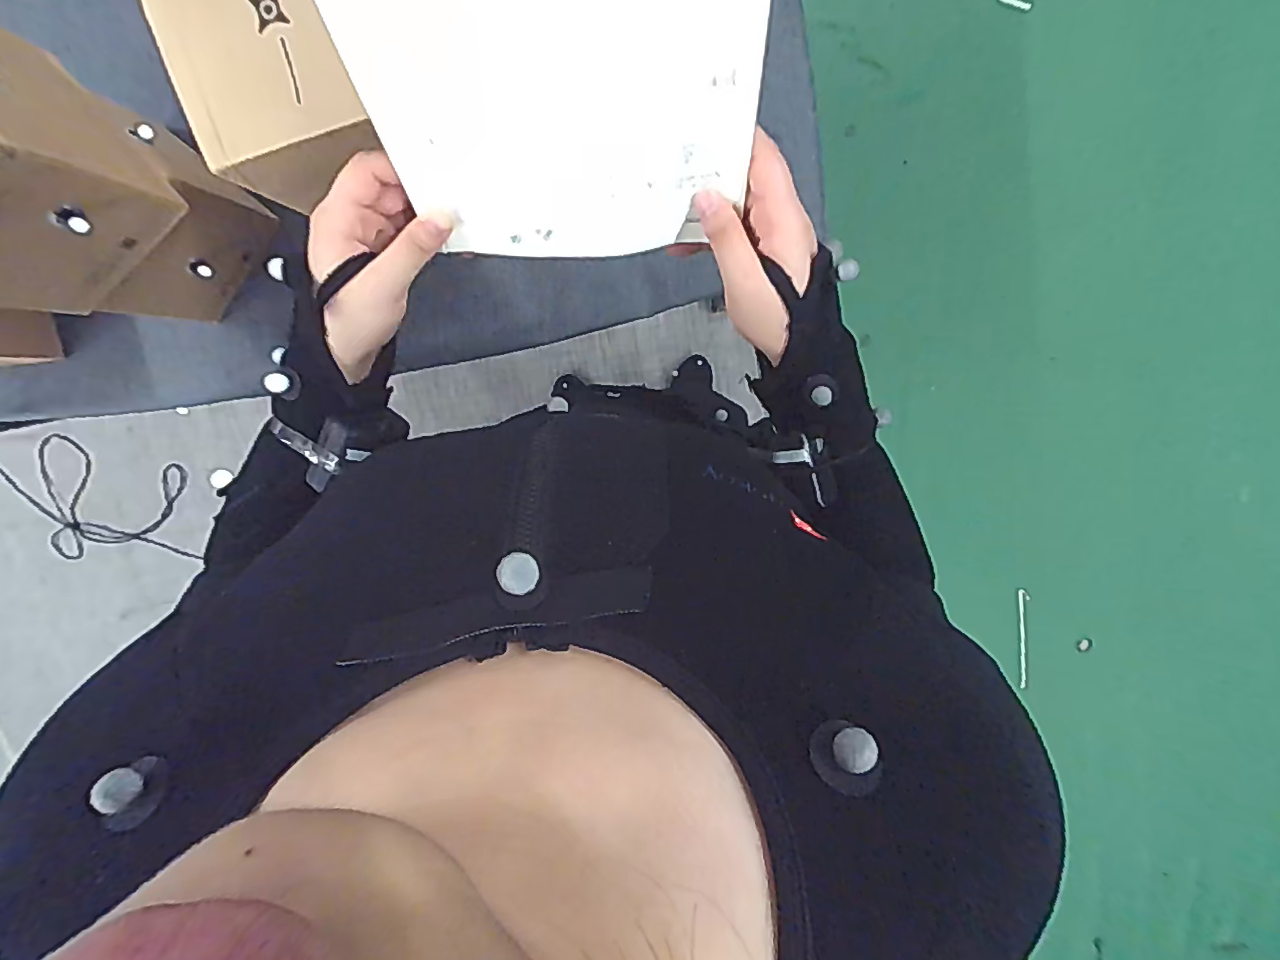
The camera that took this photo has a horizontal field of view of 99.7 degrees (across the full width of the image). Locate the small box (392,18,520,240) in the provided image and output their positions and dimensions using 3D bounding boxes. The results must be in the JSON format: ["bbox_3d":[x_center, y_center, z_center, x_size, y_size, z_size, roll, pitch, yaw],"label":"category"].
[{"bbox_3d":[-0.246,-0.378,0.586,0.179,0.176,0.168,19,102,-2],"label":"small box"}]

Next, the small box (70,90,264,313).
[{"bbox_3d":[-0.581,-0.305,0.606,0.179,0.176,0.168,39,99,-7],"label":"small box"}]

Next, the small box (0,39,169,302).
[{"bbox_3d":[-0.565,-0.267,0.448,0.168,0.176,0.179,-38,98,7],"label":"small box"}]

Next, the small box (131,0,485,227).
[{"bbox_3d":[-0.245,-0.329,0.428,0.168,0.176,0.179,-14,102,5],"label":"small box"}]
